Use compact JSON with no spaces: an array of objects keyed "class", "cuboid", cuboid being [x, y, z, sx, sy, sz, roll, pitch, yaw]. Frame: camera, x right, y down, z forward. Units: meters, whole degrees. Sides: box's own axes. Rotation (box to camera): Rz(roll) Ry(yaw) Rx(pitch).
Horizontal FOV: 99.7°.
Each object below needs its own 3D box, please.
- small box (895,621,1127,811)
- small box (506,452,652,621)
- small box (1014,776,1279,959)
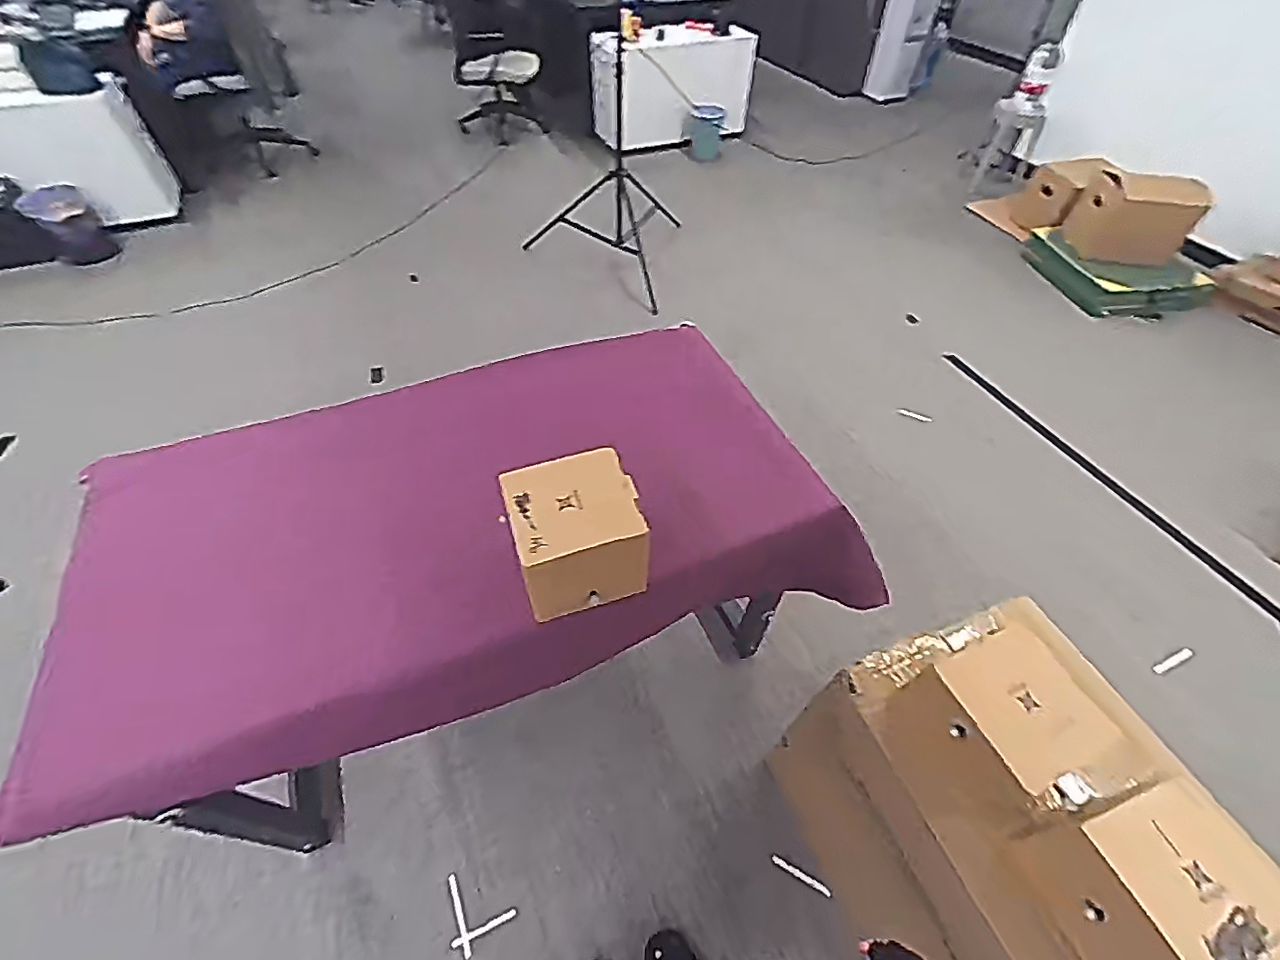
[{"class":"small box","cuboid":[0.501,0.335,0.764,0.168,0.176,0.179,-19,55,-14]},{"class":"small box","cuboid":[-0.093,0.087,0.820,0.179,0.176,0.168,-14,51,-14]},{"class":"small box","cuboid":[0.605,0.487,0.639,0.168,0.176,0.179,-15,51,-13]}]
